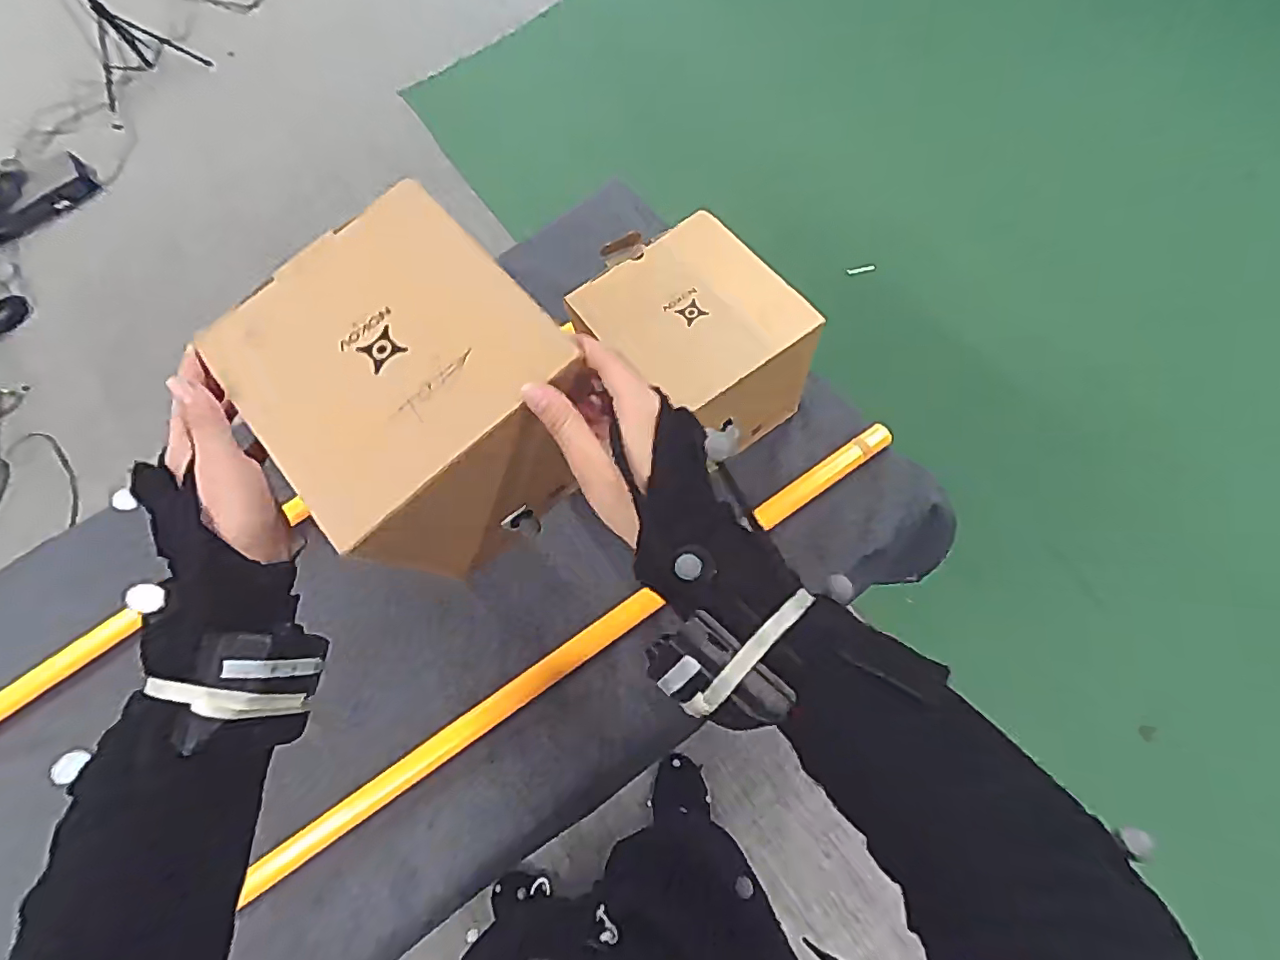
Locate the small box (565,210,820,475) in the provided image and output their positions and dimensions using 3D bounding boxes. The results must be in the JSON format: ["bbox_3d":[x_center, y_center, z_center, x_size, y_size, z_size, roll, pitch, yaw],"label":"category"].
[{"bbox_3d":[0.054,-0.124,0.558,0.168,0.176,0.179,-35,68,-6],"label":"small box"}]
